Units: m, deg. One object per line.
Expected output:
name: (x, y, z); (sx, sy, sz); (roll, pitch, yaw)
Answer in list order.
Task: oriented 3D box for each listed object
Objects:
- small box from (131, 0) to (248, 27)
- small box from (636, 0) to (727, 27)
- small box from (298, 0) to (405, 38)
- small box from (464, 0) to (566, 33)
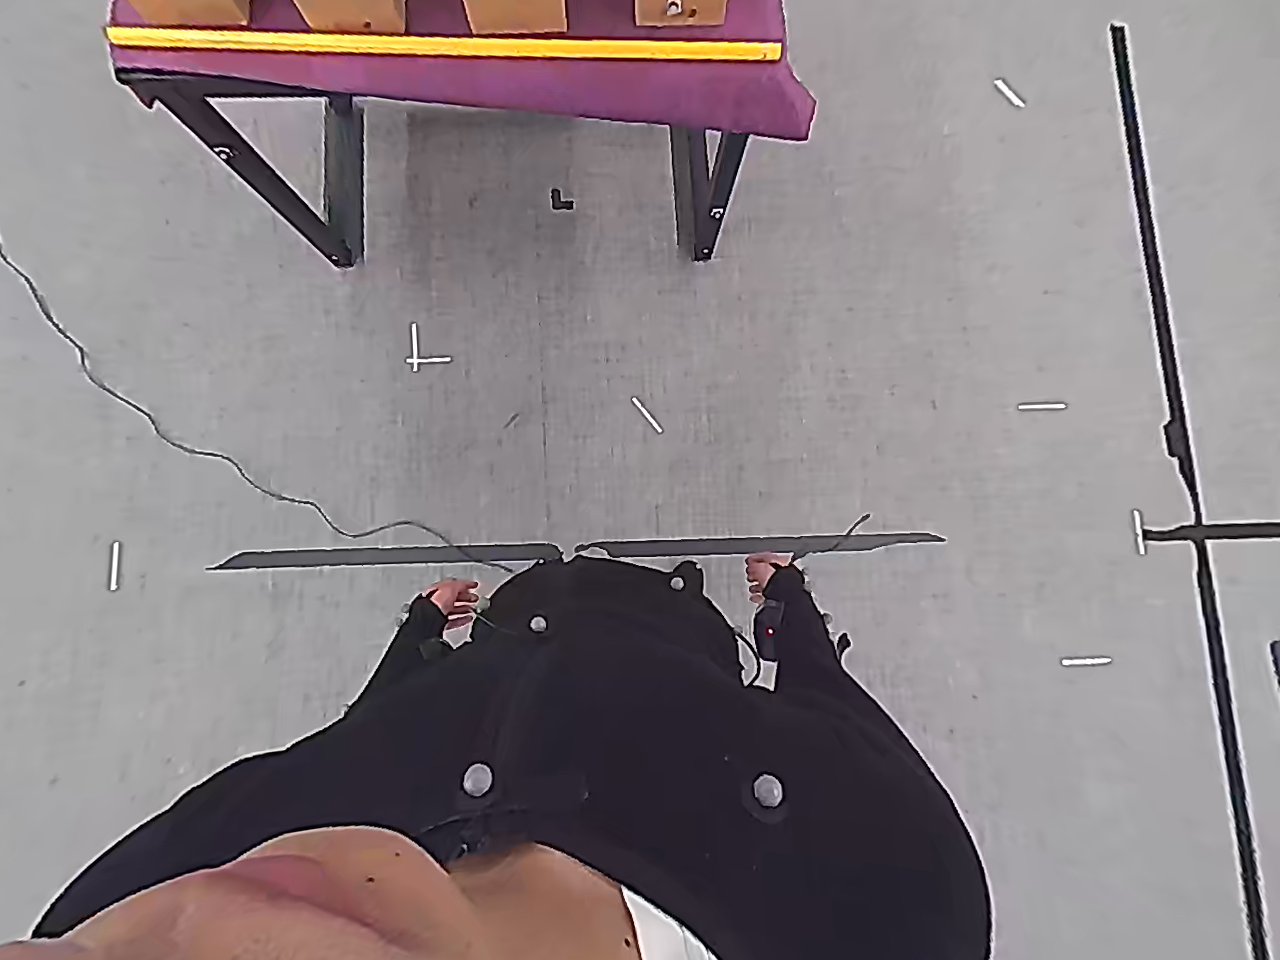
small box: (-0.791, -0.907, 0.906); (0.179, 0.176, 0.168); (-3, 84, -3)
small box: (0.072, -0.941, 0.937); (0.168, 0.176, 0.179); (-3, 83, -1)
small box: (-0.511, -0.904, 0.917); (0.168, 0.176, 0.179); (-2, 84, -2)
small box: (-0.225, -0.912, 0.926); (0.179, 0.176, 0.168); (-4, 83, -3)
